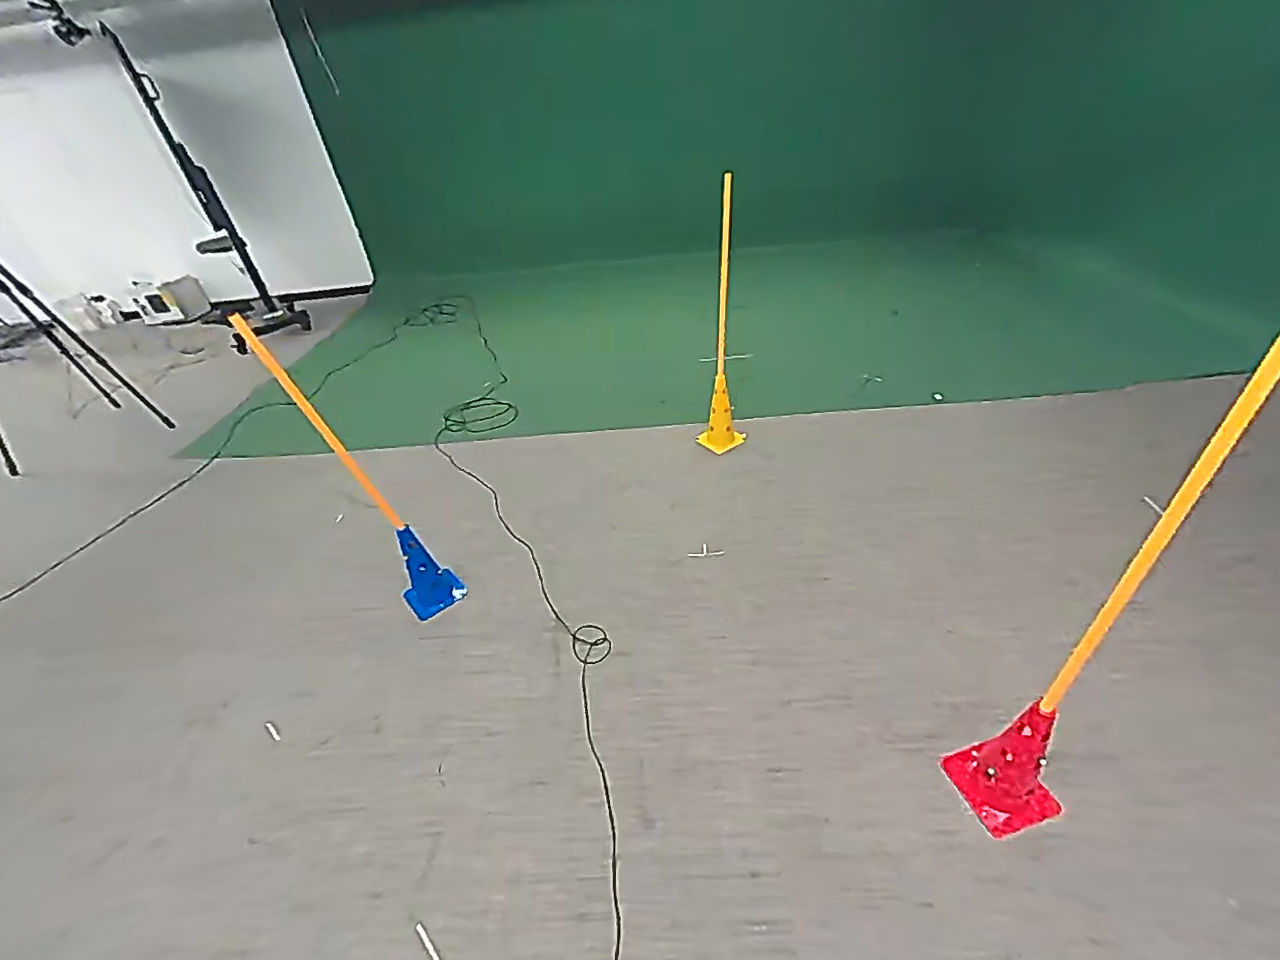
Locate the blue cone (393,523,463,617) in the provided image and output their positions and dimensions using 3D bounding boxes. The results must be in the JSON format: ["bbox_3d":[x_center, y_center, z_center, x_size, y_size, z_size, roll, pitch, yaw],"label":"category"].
[{"bbox_3d":[-0.817,0.310,1.992,0.193,0.380,0.192,-35,45,-29],"label":"blue cone"}]
